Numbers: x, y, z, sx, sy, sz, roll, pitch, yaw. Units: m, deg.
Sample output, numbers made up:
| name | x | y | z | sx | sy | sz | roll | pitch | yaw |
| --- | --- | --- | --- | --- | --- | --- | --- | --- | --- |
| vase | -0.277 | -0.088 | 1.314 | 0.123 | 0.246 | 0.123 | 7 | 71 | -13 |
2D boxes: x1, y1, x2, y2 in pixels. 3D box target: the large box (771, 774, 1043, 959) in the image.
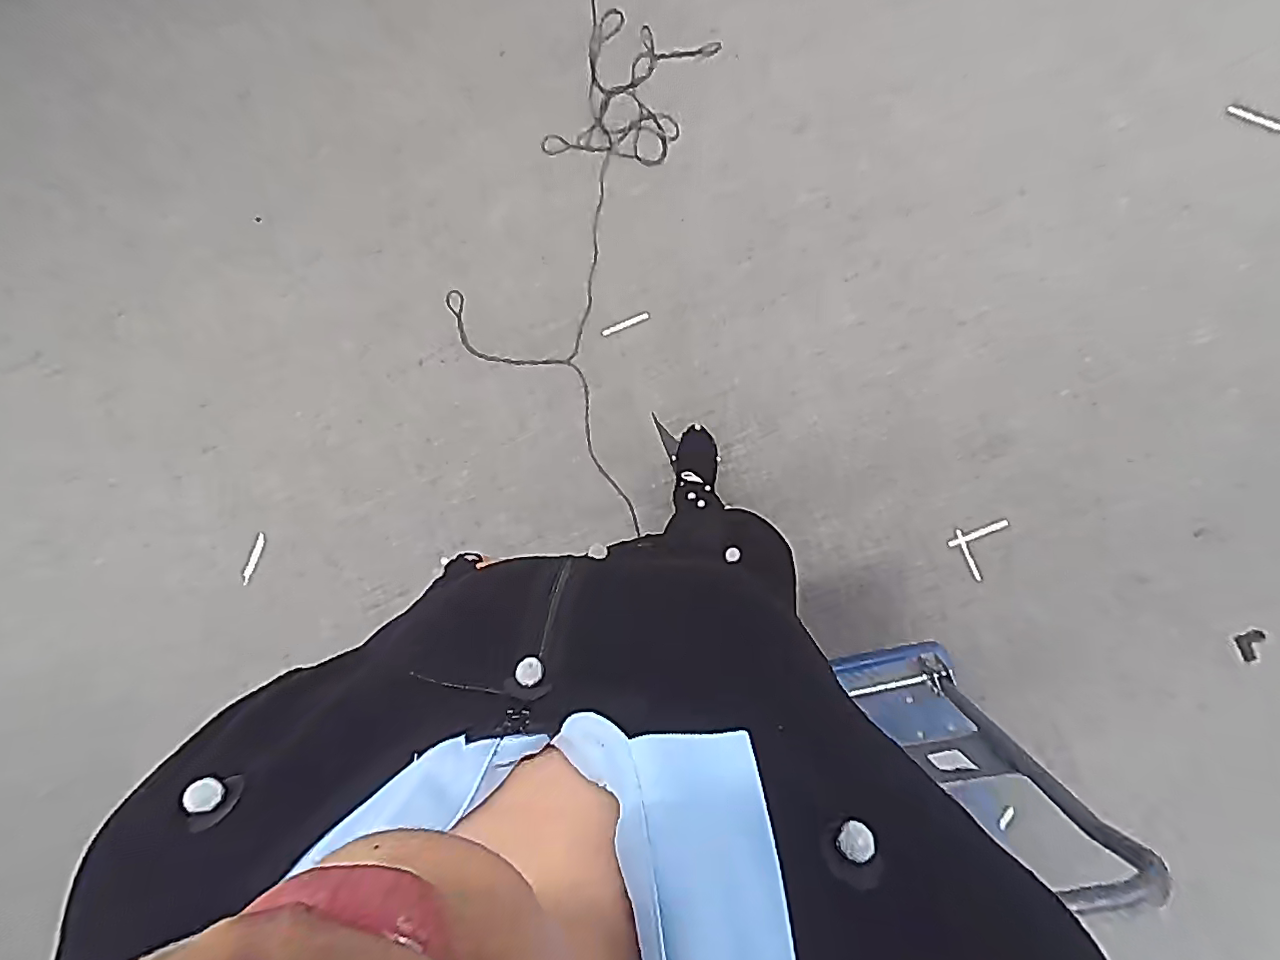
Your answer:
| name | x | y | z | sx | sy | sz | roll | pitch | yaw |
| --- | --- | --- | --- | --- | --- | --- | --- | --- | --- |
| large box | 0.519 | 0.863 | 1.107 | 0.408 | 0.320 | 0.320 | -15 | 87 | 6 |
